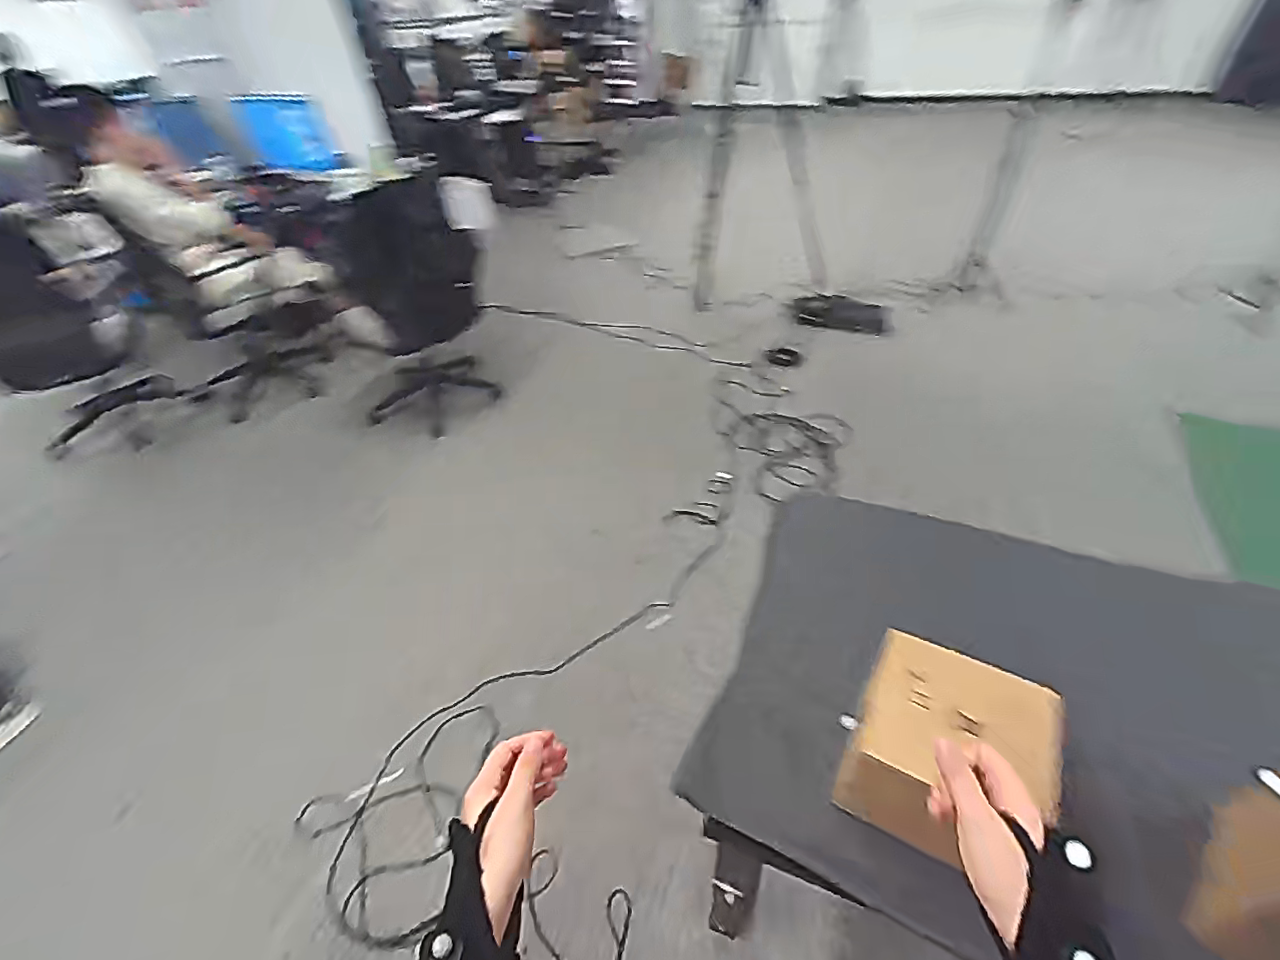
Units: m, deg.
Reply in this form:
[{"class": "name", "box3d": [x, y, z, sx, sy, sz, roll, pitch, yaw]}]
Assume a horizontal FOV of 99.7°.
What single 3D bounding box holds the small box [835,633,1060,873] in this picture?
[{"class": "small box", "box3d": [0.348, 0.319, 0.631, 0.179, 0.176, 0.168, 19, 48, 24]}]
